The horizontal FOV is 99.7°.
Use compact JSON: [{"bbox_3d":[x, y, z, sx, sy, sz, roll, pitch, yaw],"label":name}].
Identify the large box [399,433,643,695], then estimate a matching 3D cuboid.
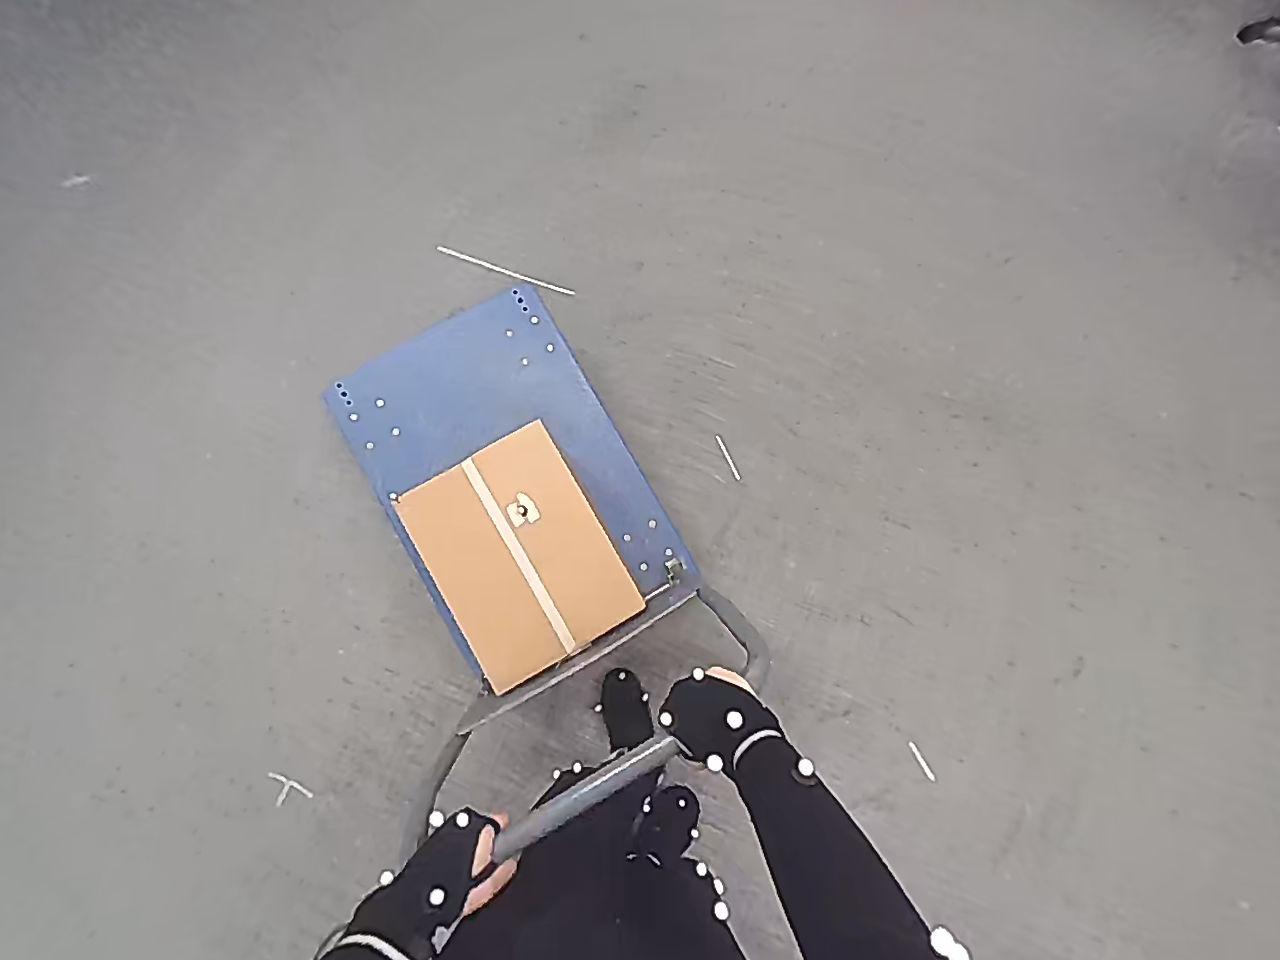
[{"bbox_3d":[-0.224,0.167,1.157,0.320,0.320,0.408,-30,85,-5],"label":"large box"}]
